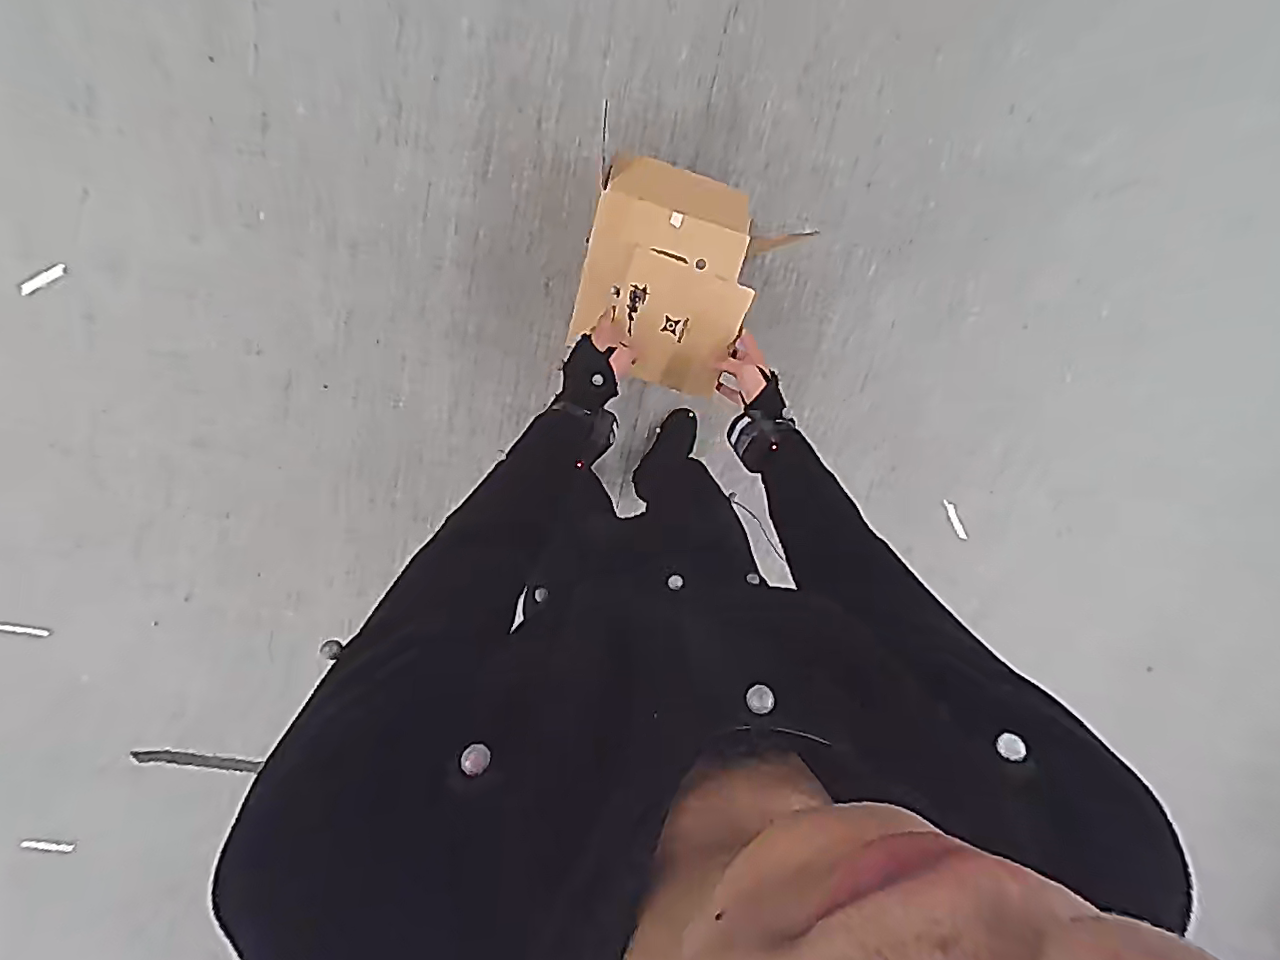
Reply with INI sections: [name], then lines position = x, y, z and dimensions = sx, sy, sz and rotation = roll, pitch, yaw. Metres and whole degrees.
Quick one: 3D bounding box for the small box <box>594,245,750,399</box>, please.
[small box]
position = 0.036, -0.247, 0.826
dimensions = 0.179, 0.176, 0.168
rotation = 15, 114, -14
